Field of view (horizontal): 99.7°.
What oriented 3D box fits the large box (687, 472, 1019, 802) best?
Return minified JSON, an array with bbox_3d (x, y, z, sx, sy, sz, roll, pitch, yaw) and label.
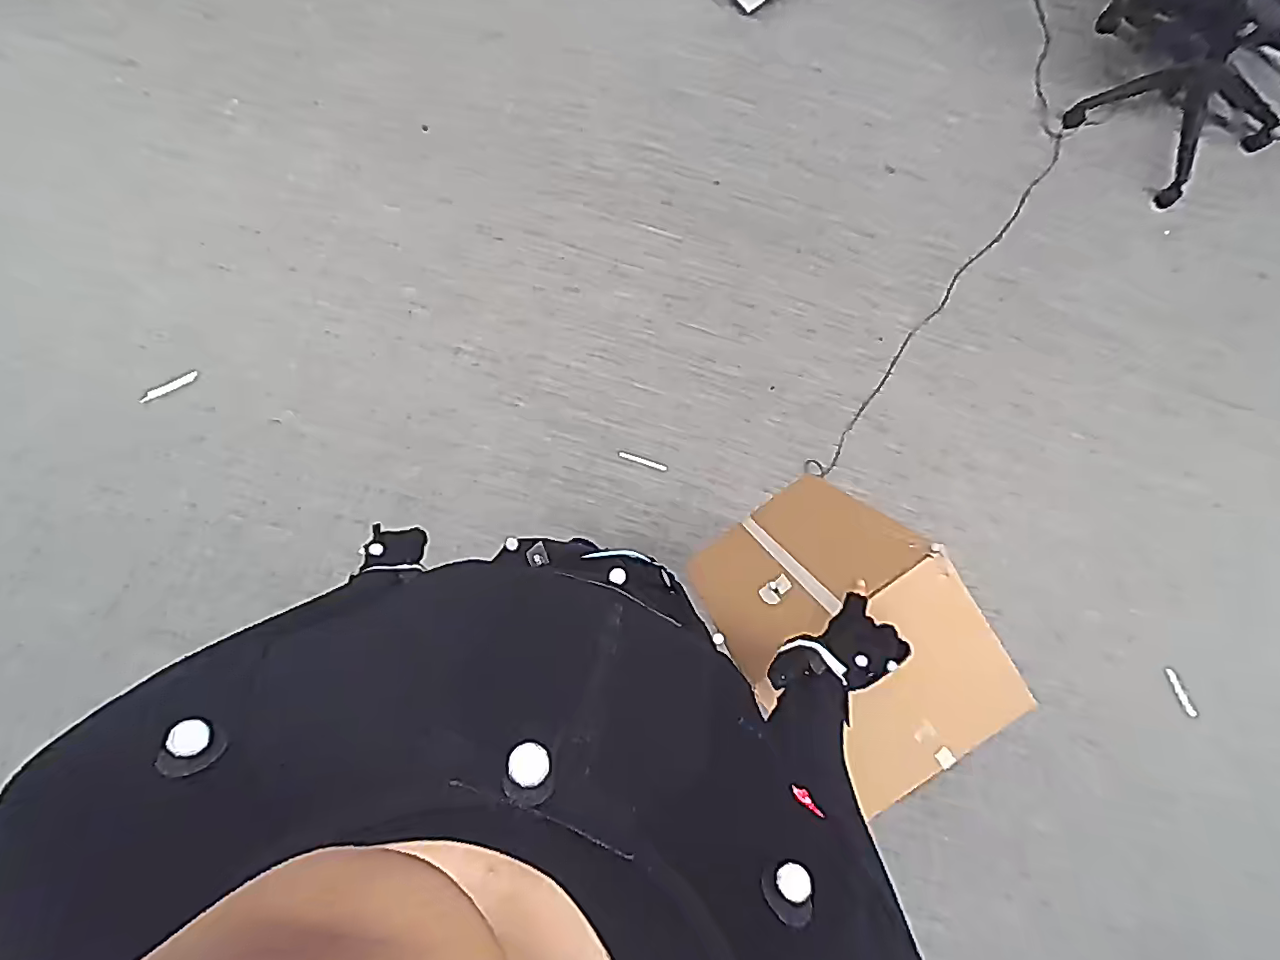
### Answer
[{"bbox_3d":[0.331,0.237,0.948,0.320,0.408,0.320,-39,107,3],"label":"large box"}]
